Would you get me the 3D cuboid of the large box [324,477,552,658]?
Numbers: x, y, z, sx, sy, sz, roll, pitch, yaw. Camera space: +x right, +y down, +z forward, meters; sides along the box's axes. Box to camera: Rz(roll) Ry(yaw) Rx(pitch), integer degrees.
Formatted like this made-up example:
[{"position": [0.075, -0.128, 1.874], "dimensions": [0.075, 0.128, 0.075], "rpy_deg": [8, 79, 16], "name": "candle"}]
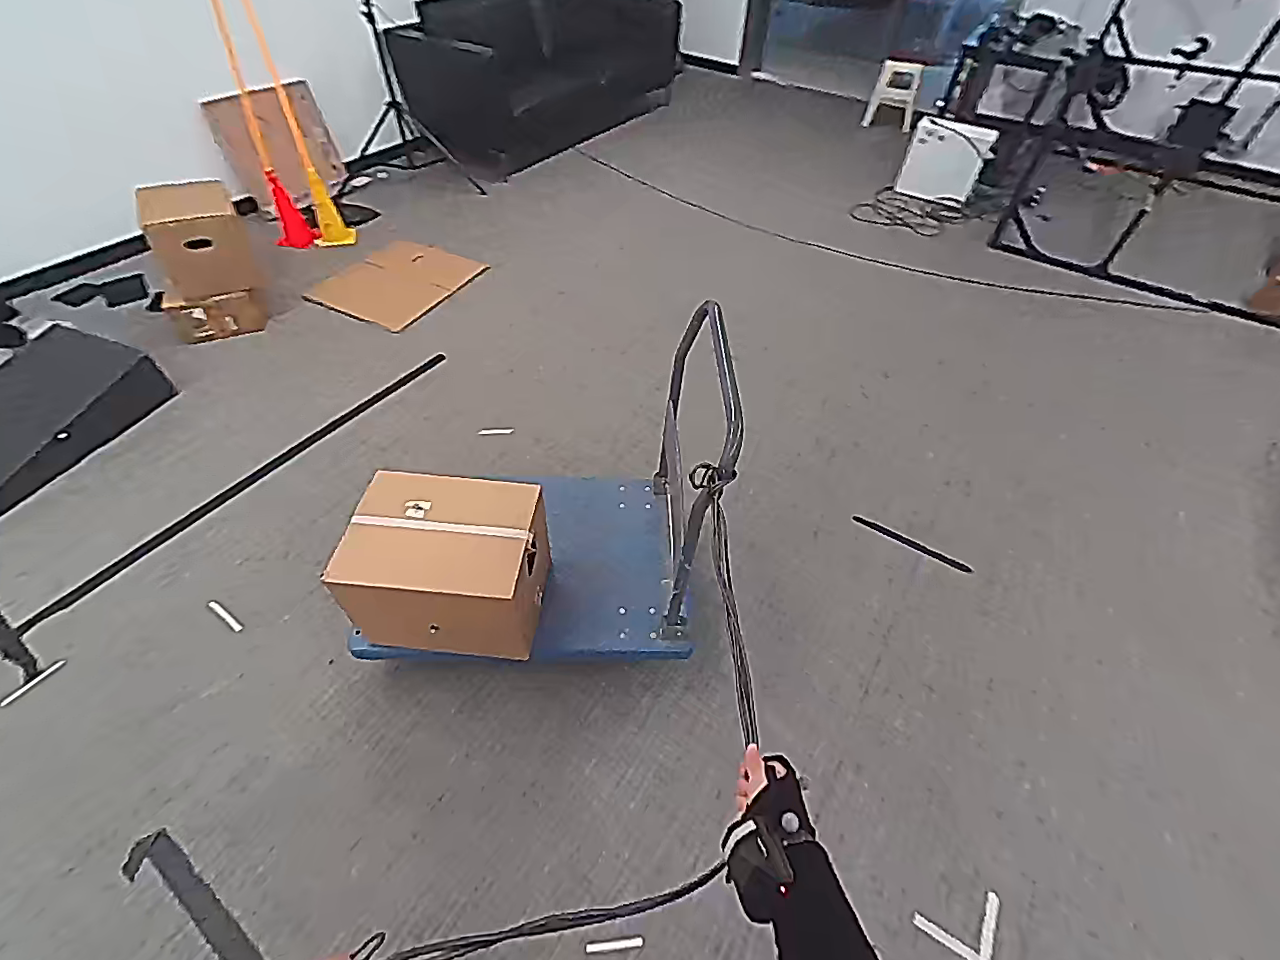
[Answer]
[{"position": [-0.446, 0.217, 1.314], "dimensions": [0.408, 0.320, 0.320], "rpy_deg": [5, 48, 1], "name": "large box"}]
